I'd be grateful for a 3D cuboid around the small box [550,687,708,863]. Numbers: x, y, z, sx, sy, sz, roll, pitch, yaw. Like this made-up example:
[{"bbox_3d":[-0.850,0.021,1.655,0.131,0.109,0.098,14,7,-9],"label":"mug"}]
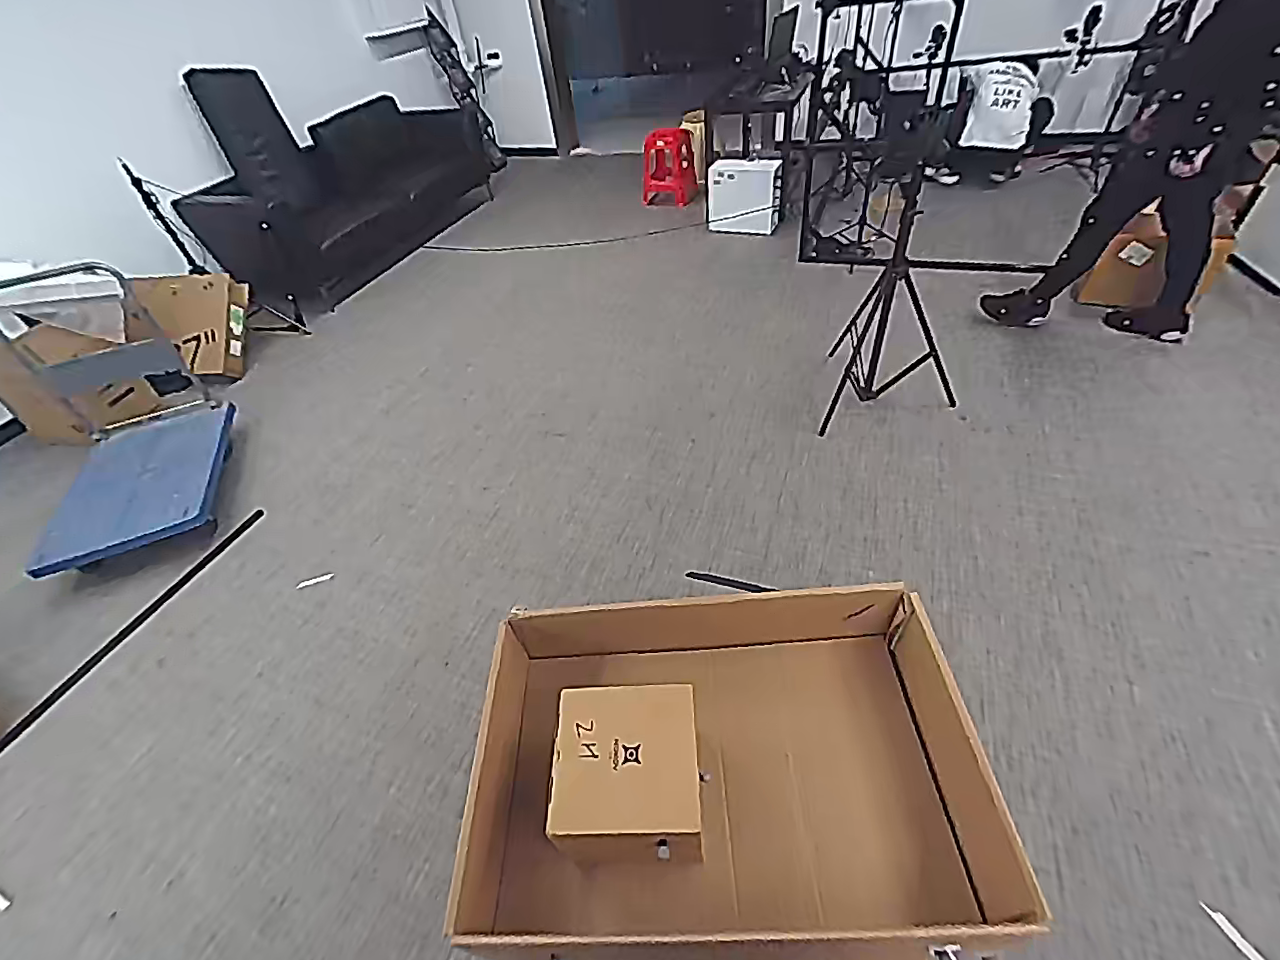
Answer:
[{"bbox_3d":[-0.006,0.384,0.704,0.179,0.176,0.168,-3,45,4],"label":"small box"}]
